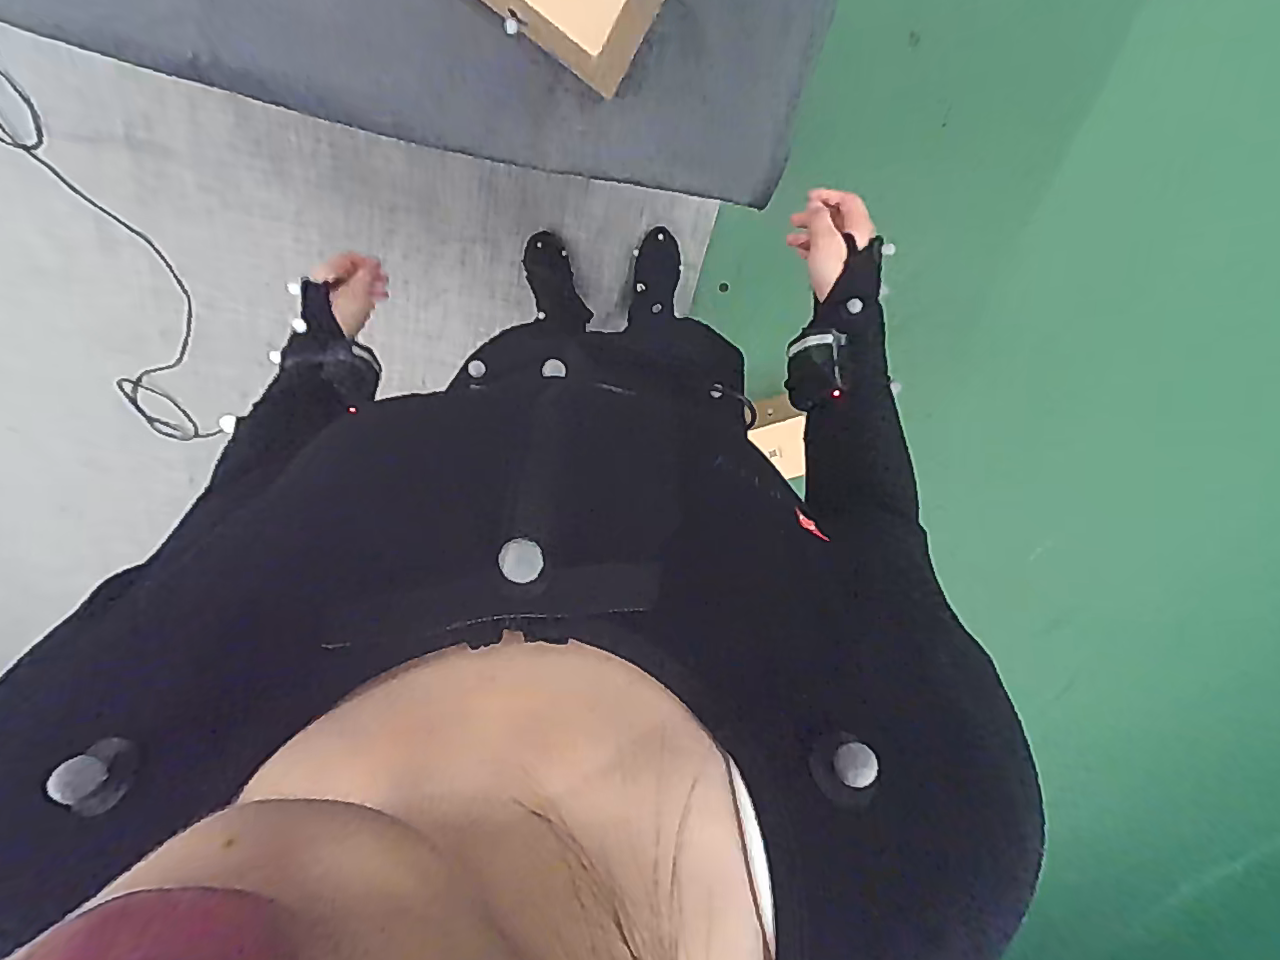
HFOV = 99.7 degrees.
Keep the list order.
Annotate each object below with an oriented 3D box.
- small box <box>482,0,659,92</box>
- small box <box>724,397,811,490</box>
[{"bbox_3d":[-0.055,-0.447,0.419,0.168,0.176,0.179,31,113,-15],"label":"small box"},{"bbox_3d":[0.334,-0.103,1.434,0.179,0.176,0.168,-16,117,9],"label":"small box"}]
